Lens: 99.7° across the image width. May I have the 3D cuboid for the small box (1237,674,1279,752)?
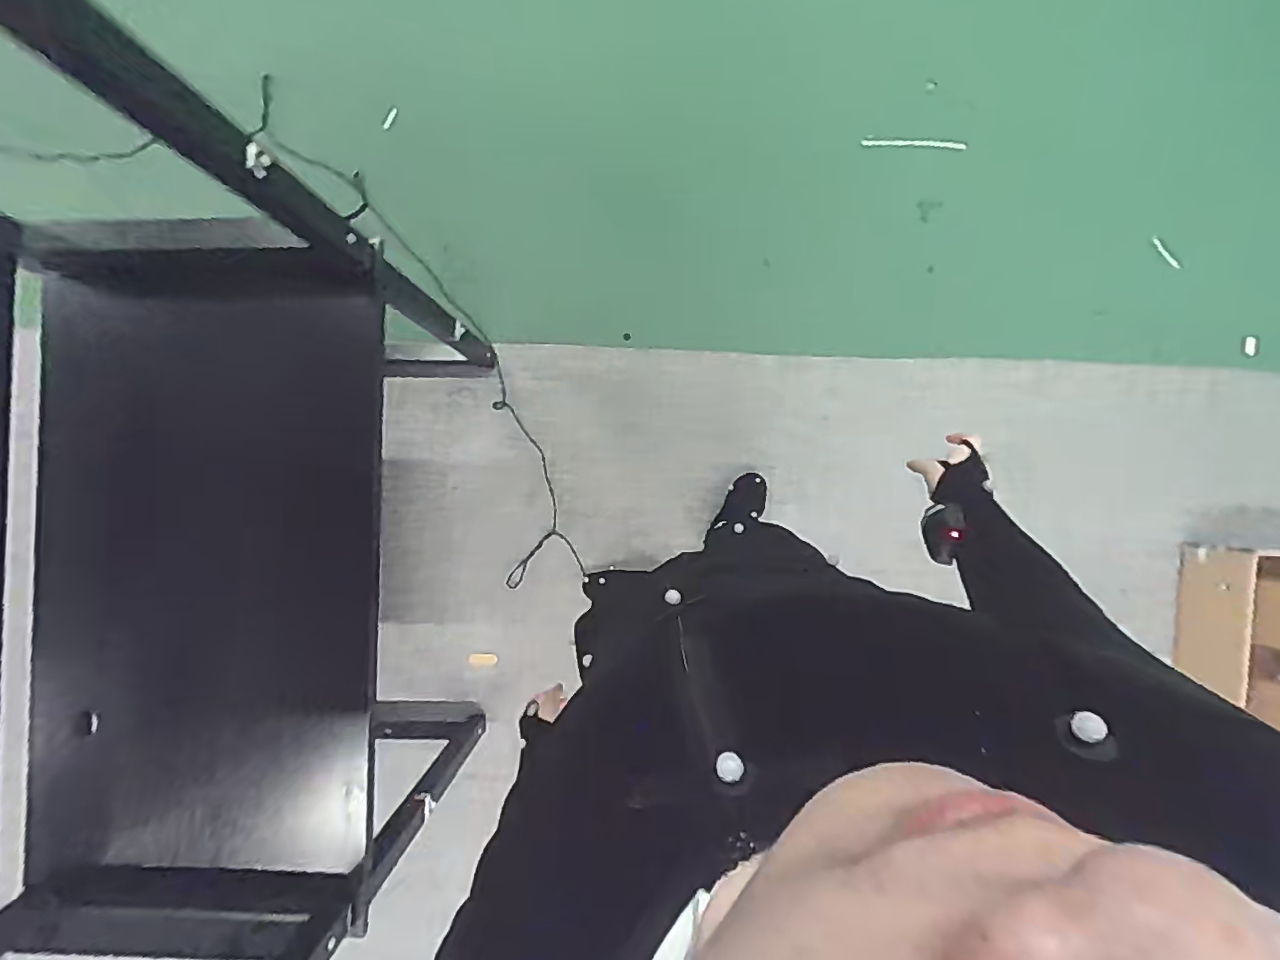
[{"bbox_3d":[1.773,0.644,1.447,0.168,0.176,0.179,8,89,2],"label":"small box"}]
